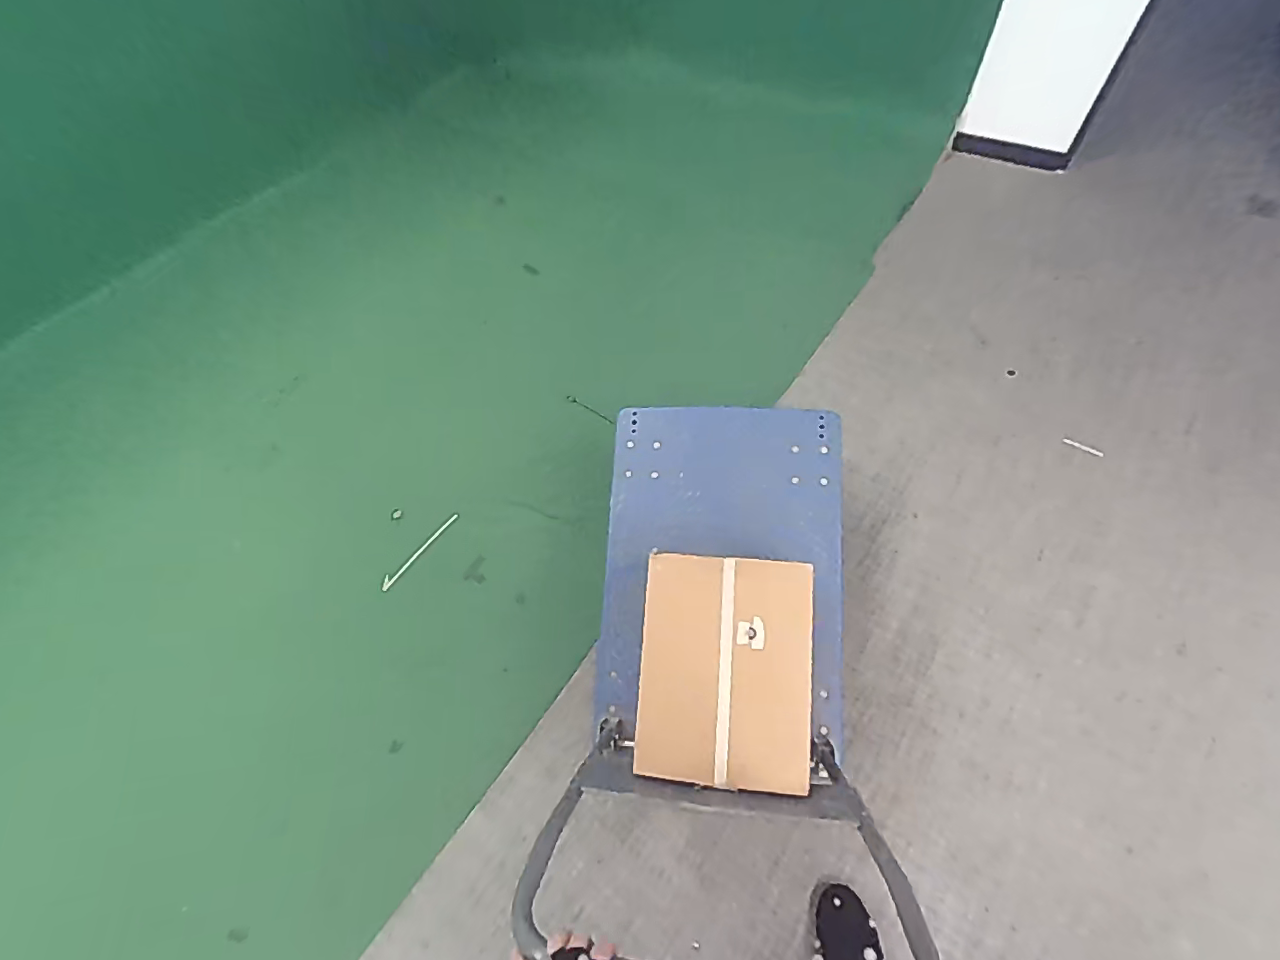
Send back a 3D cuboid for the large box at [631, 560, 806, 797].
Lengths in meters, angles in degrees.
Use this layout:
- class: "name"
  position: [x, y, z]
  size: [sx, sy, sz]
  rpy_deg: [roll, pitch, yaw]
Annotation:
- class: "large box"
  position: [0.173, 0.395, 1.160]
  size: [0.320, 0.320, 0.408]
  rpy_deg: [4, 78, 9]
